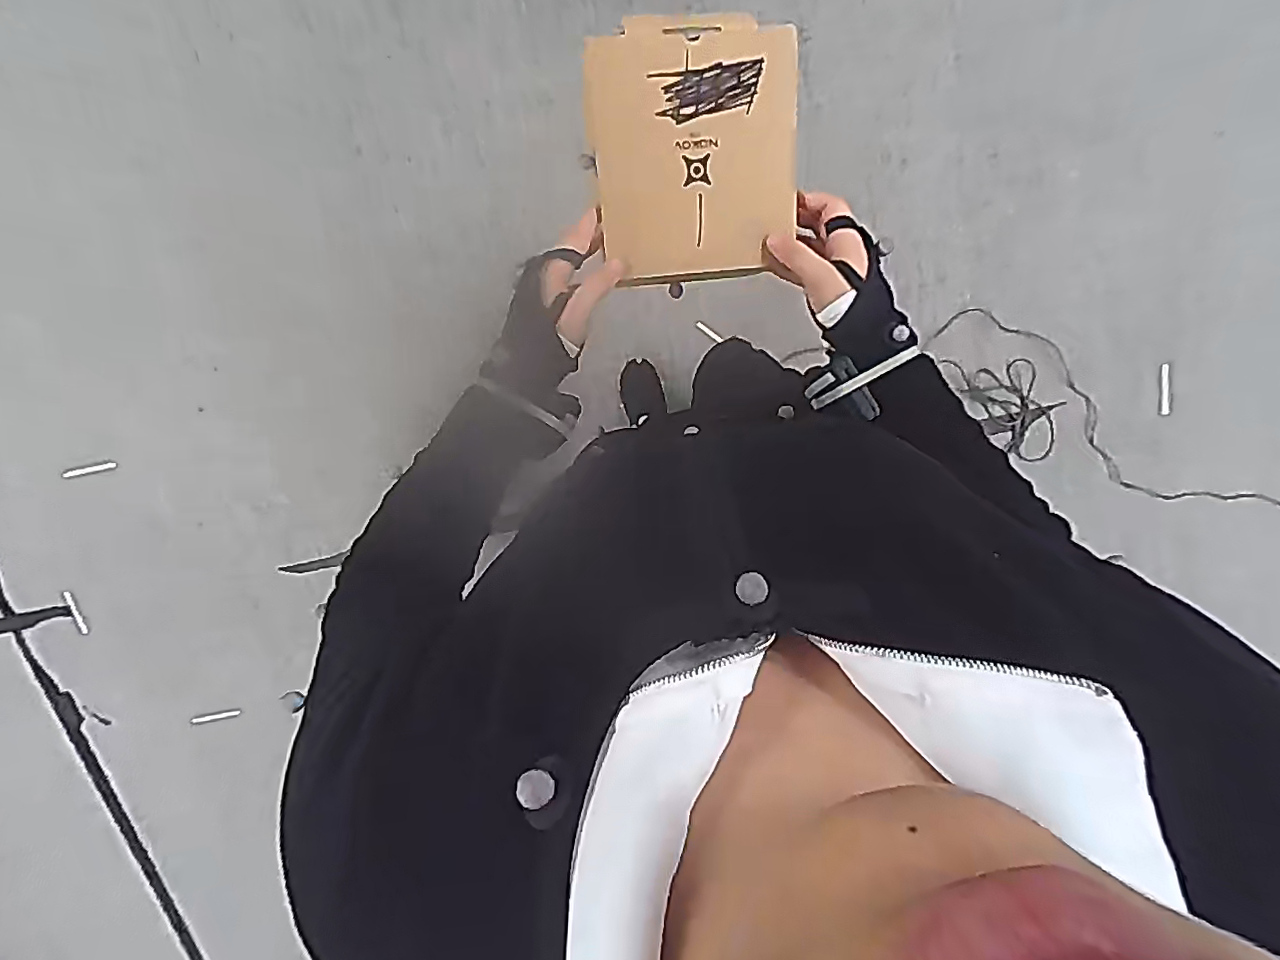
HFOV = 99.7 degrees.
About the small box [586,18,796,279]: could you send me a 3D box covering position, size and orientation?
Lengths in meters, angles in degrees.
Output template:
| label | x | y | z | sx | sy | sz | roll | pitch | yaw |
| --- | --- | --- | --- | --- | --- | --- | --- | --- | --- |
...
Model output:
| label | x | y | z | sx | sy | sz | roll | pitch | yaw |
| --- | --- | --- | --- | --- | --- | --- | --- | --- | --- |
| small box | 0.038 | -0.294 | 0.516 | 0.168 | 0.176 | 0.179 | -6 | 108 | -4 |
